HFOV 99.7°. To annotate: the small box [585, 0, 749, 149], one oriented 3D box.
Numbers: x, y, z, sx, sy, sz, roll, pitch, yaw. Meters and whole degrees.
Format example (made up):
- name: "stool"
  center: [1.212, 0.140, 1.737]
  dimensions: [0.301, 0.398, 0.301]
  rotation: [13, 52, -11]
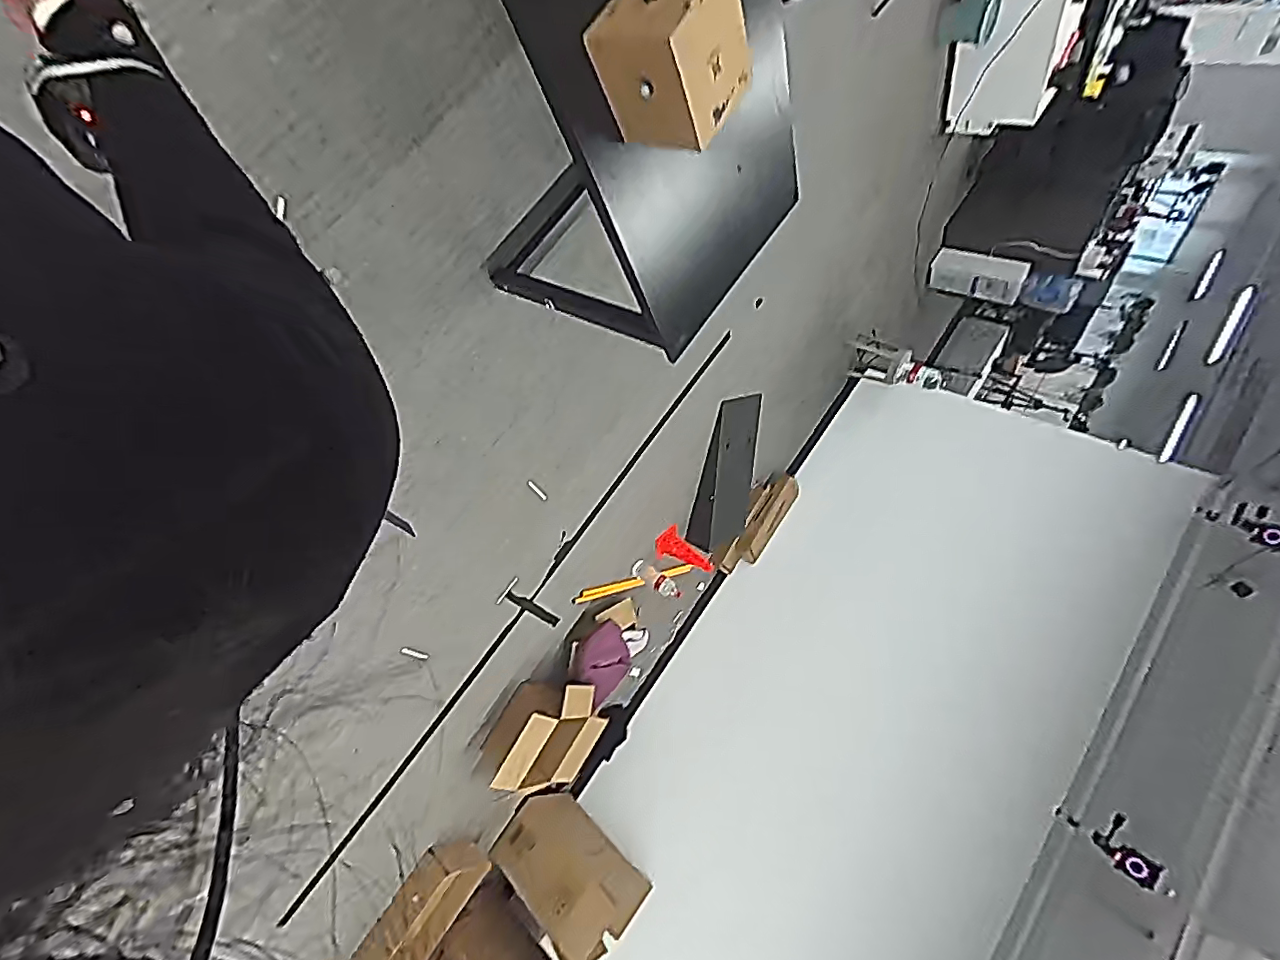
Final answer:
- name: "small box"
  center: [0.044, -0.659, 0.852]
  dimensions: [0.168, 0.176, 0.179]
  rotation: [-57, 148, -9]
